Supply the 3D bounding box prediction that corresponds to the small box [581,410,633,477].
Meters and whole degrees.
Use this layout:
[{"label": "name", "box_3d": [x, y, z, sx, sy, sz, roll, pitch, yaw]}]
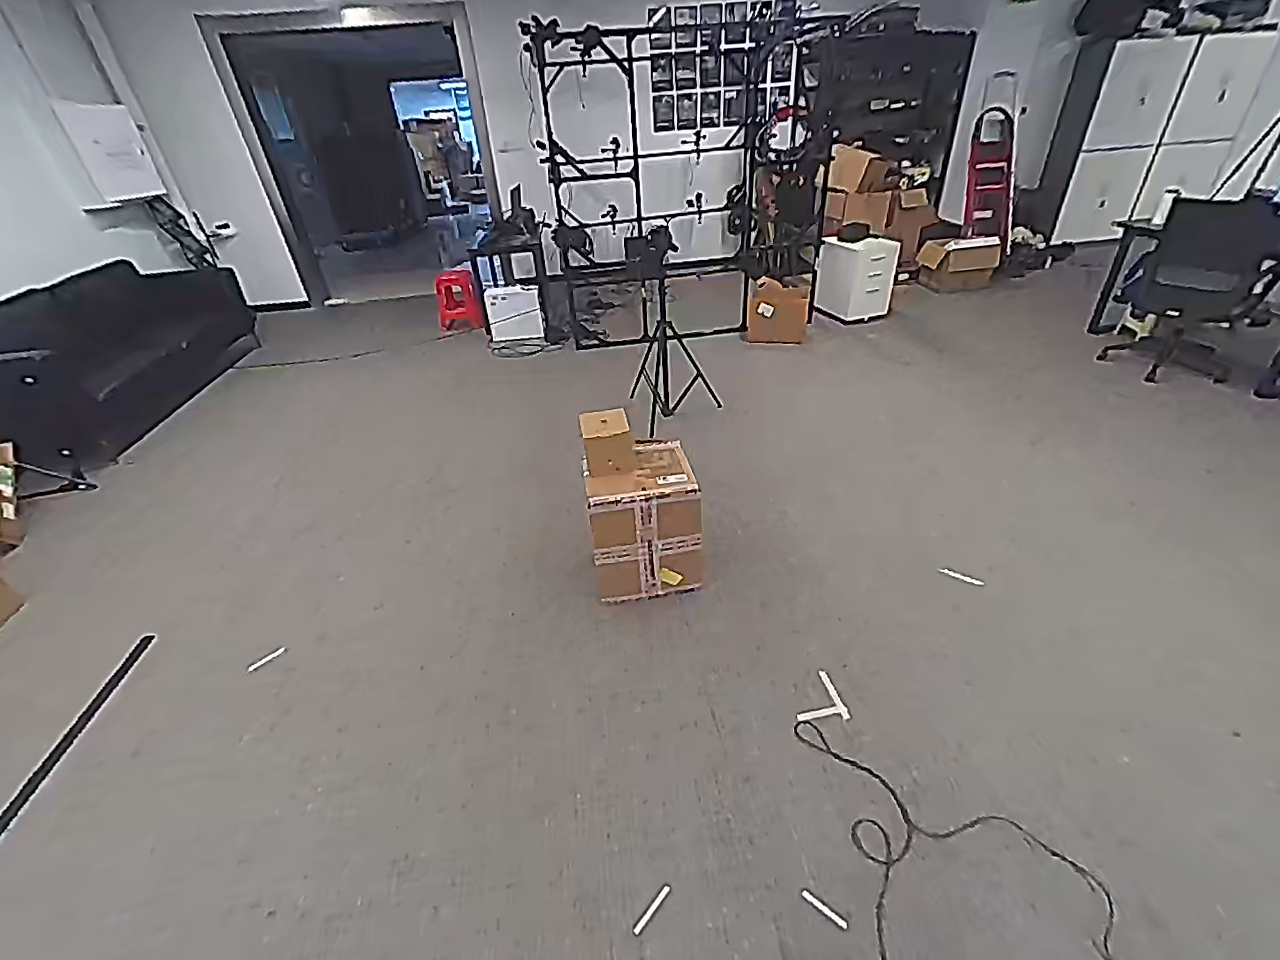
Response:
[{"label": "small box", "box_3d": [-0.121, -0.133, 1.964, 0.168, 0.176, 0.179, -10, 37, -4]}]
